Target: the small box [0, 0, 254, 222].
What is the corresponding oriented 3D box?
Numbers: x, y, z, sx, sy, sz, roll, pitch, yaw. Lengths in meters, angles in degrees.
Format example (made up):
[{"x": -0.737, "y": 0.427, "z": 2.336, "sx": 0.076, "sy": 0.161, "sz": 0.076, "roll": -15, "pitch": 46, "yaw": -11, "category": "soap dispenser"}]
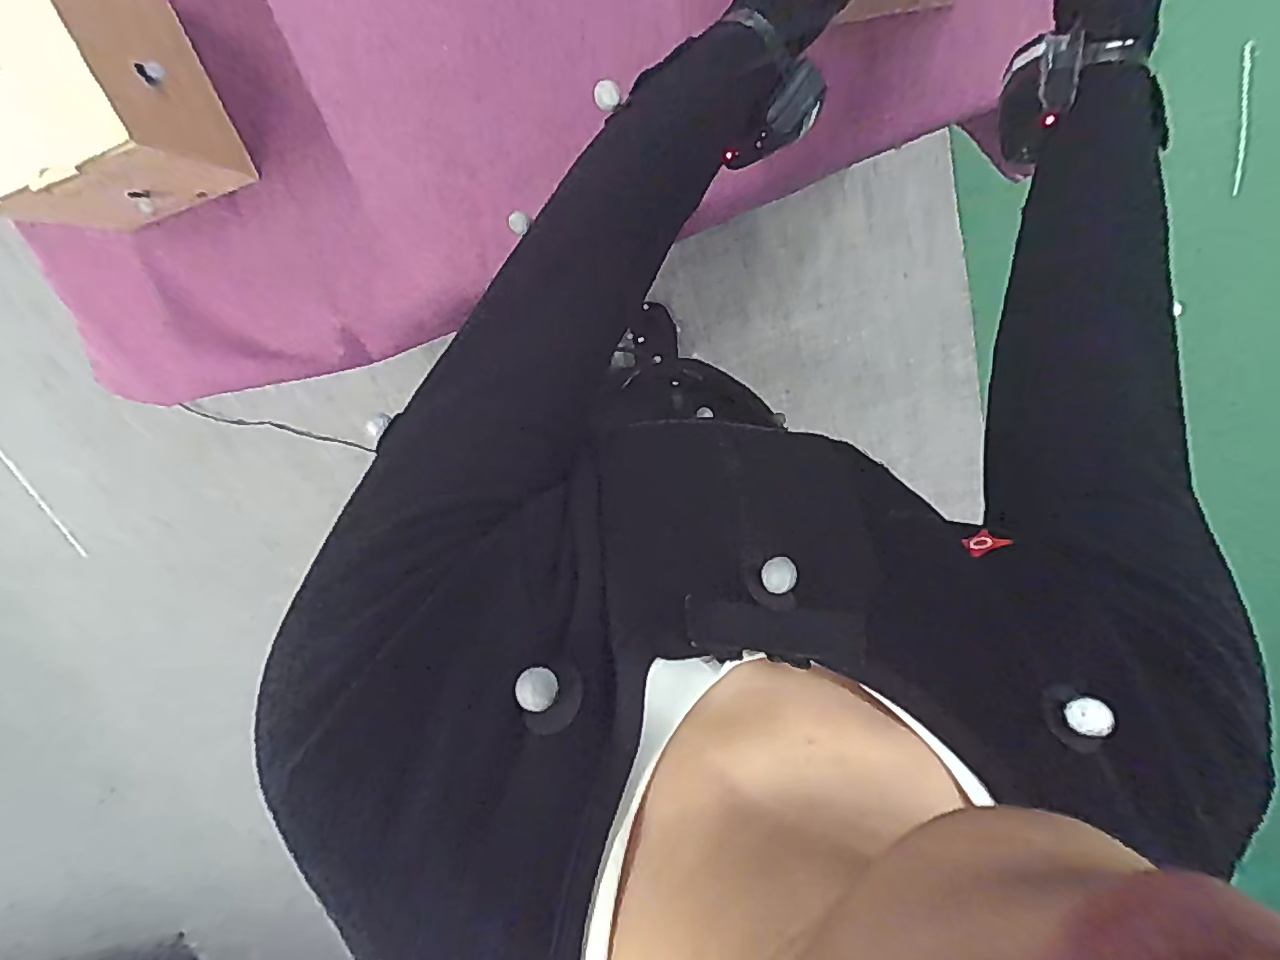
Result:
[{"x": -0.513, "y": -0.352, "z": 0.497, "sx": 0.168, "sy": 0.176, "sz": 0.179, "roll": -18, "pitch": 110, "yaw": 4, "category": "small box"}]
